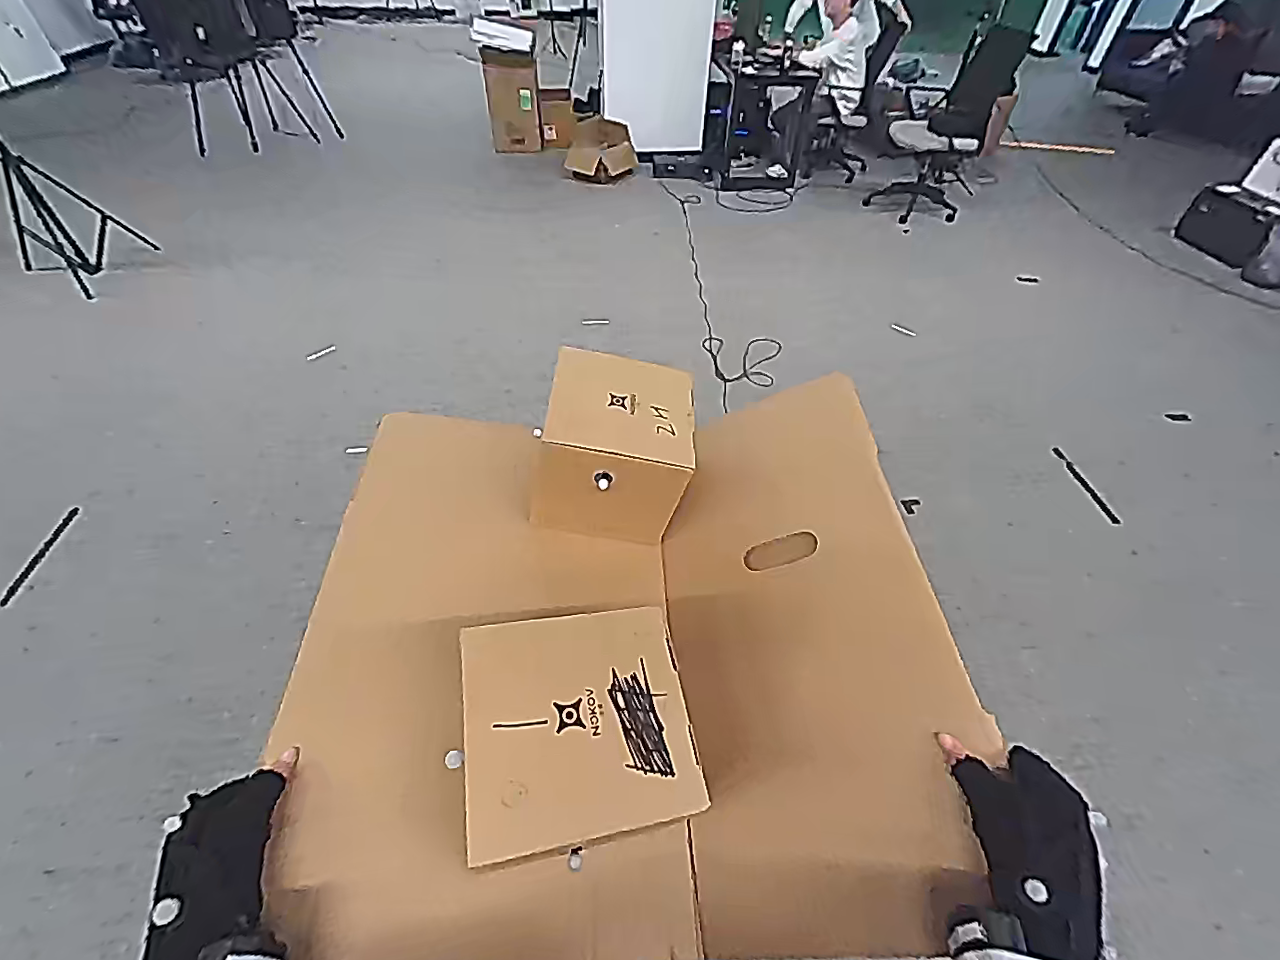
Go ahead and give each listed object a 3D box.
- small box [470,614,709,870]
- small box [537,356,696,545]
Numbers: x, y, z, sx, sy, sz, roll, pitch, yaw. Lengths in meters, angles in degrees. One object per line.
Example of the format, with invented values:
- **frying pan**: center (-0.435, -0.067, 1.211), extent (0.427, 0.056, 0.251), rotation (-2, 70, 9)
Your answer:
- **small box**: center (-0.062, 0.238, 0.493), extent (0.179, 0.176, 0.168), rotation (-2, 54, -17)
- **small box**: center (-0.034, -0.032, 0.713), extent (0.179, 0.176, 0.168), rotation (11, 51, -9)
